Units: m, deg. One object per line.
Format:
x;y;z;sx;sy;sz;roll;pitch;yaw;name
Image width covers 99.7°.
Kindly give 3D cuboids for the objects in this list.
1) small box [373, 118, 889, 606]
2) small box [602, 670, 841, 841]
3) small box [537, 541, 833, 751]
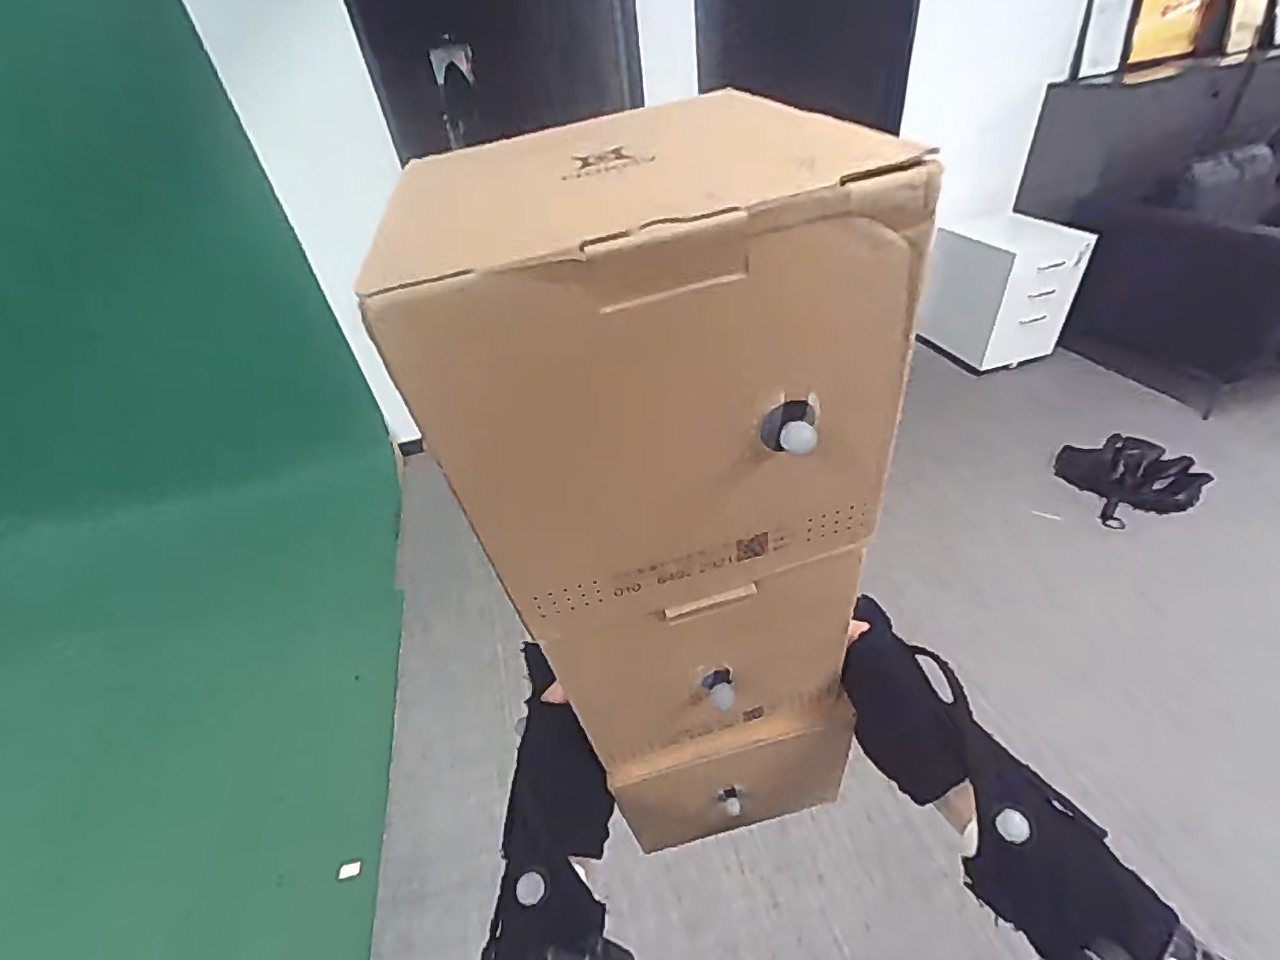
-0.005;-0.058;0.275;0.168;0.176;0.179;-15;41;-4;small box
0.060;0.197;0.494;0.179;0.176;0.168;-15;41;-1;small box
0.023;0.072;0.399;0.168;0.176;0.179;-18;41;-4;small box
